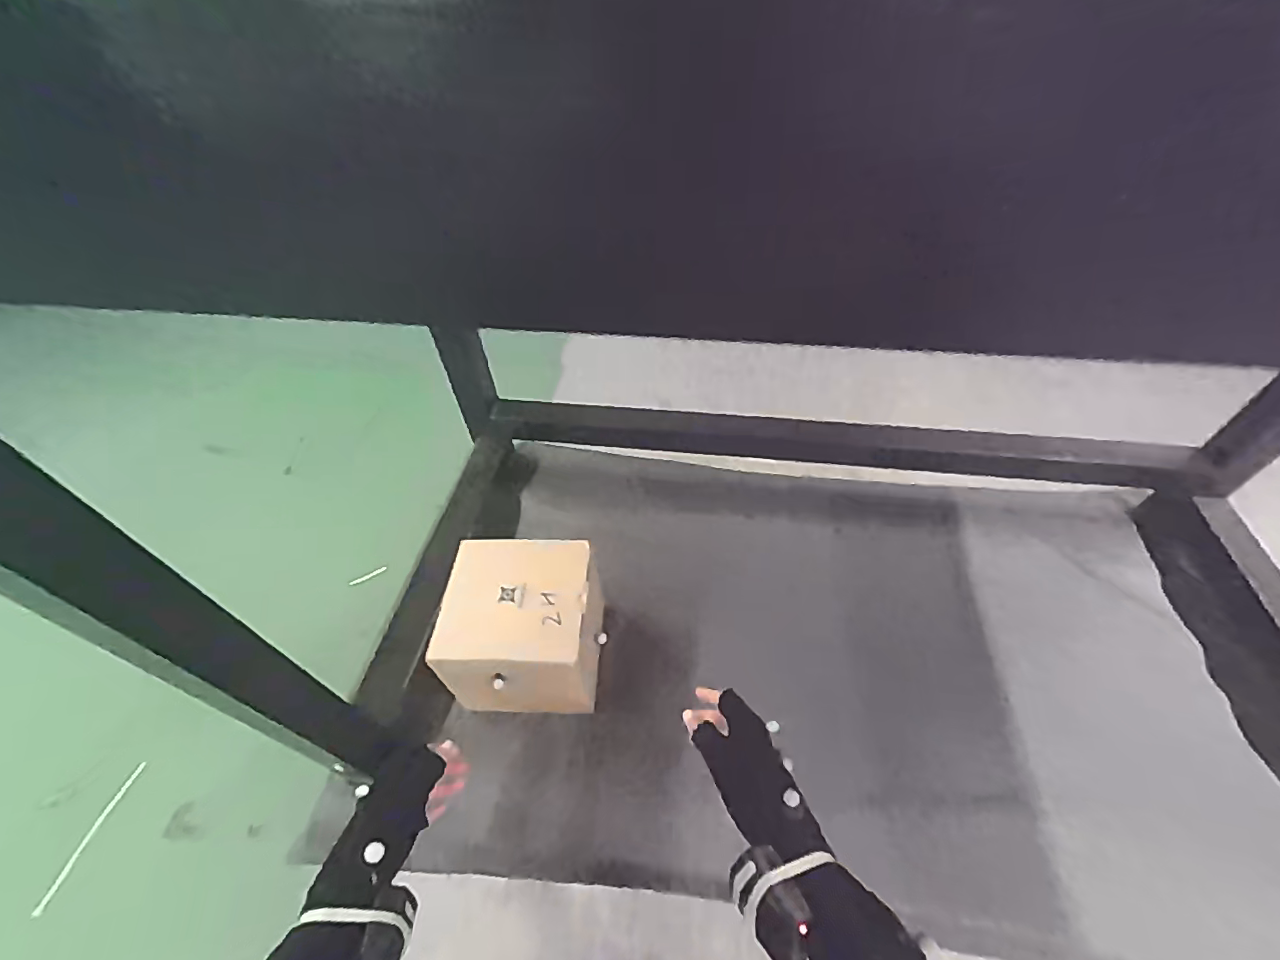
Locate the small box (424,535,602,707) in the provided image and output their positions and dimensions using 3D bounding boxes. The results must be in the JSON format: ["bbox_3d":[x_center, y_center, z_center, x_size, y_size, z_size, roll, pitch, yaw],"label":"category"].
[{"bbox_3d":[-0.151,0.189,0.714,0.179,0.176,0.168,1,49,4],"label":"small box"}]
